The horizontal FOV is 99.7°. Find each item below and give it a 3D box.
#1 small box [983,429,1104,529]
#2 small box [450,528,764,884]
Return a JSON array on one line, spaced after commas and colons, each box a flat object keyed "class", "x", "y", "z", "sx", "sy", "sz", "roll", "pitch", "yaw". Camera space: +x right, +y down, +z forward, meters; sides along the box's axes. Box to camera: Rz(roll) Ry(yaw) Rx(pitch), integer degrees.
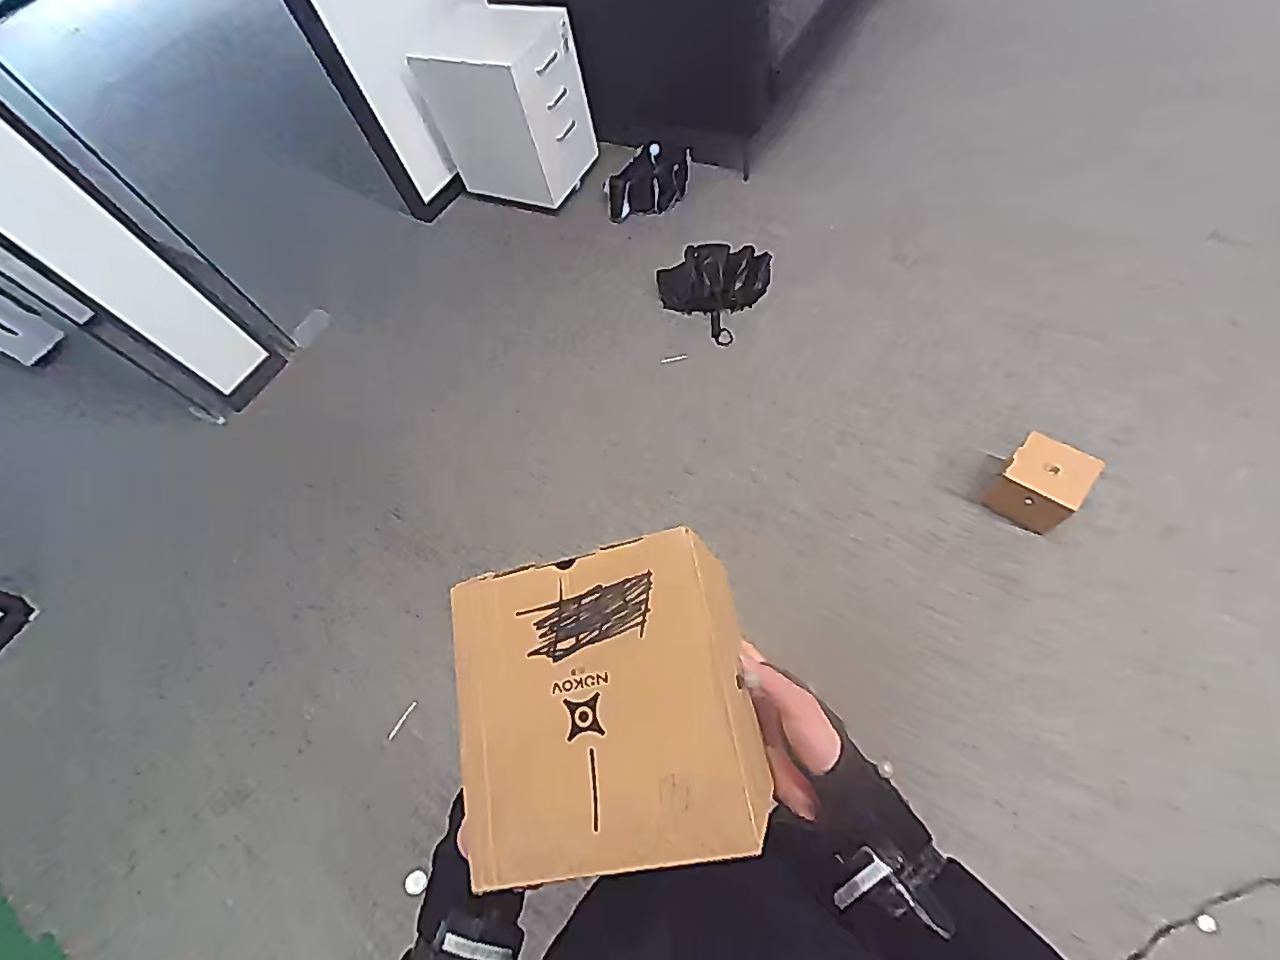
[{"class": "small box", "x": 1.050, "y": 0.003, "z": 1.423, "sx": 0.179, "sy": 0.176, "sz": 0.168, "roll": 34, "pitch": 75, "yaw": 24}, {"class": "small box", "x": -0.015, "y": 0.151, "z": 0.390, "sx": 0.168, "sy": 0.176, "sz": 0.179, "roll": -15, "pitch": 70, "yaw": 12}]
